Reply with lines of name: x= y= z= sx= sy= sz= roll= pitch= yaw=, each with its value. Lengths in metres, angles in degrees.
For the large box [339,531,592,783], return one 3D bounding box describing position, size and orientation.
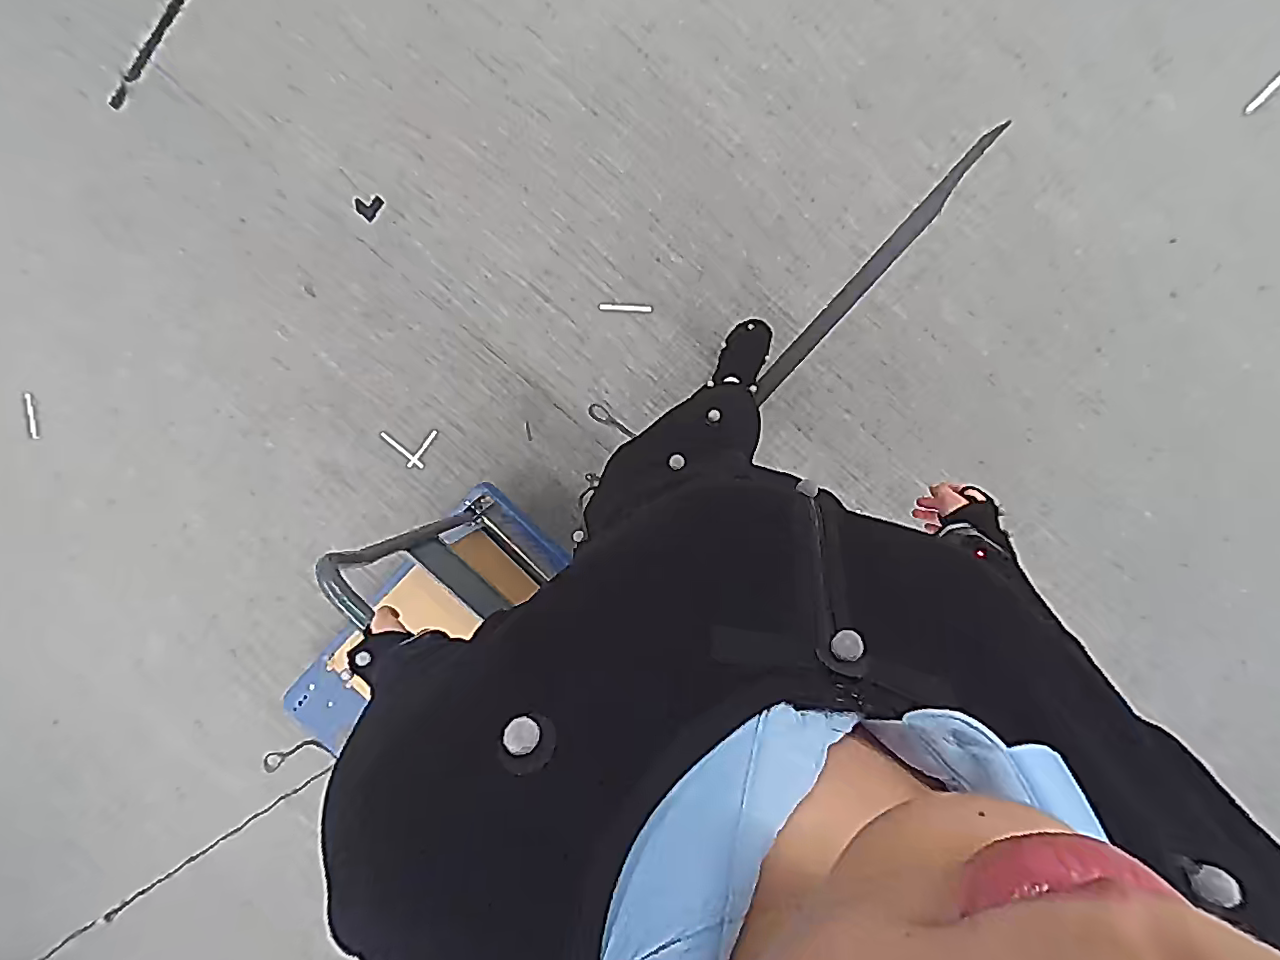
large box: x=-0.379 y=0.388 z=1.270 sx=0.408 sy=0.320 sz=0.320 roll=44 pitch=99 yaw=0
